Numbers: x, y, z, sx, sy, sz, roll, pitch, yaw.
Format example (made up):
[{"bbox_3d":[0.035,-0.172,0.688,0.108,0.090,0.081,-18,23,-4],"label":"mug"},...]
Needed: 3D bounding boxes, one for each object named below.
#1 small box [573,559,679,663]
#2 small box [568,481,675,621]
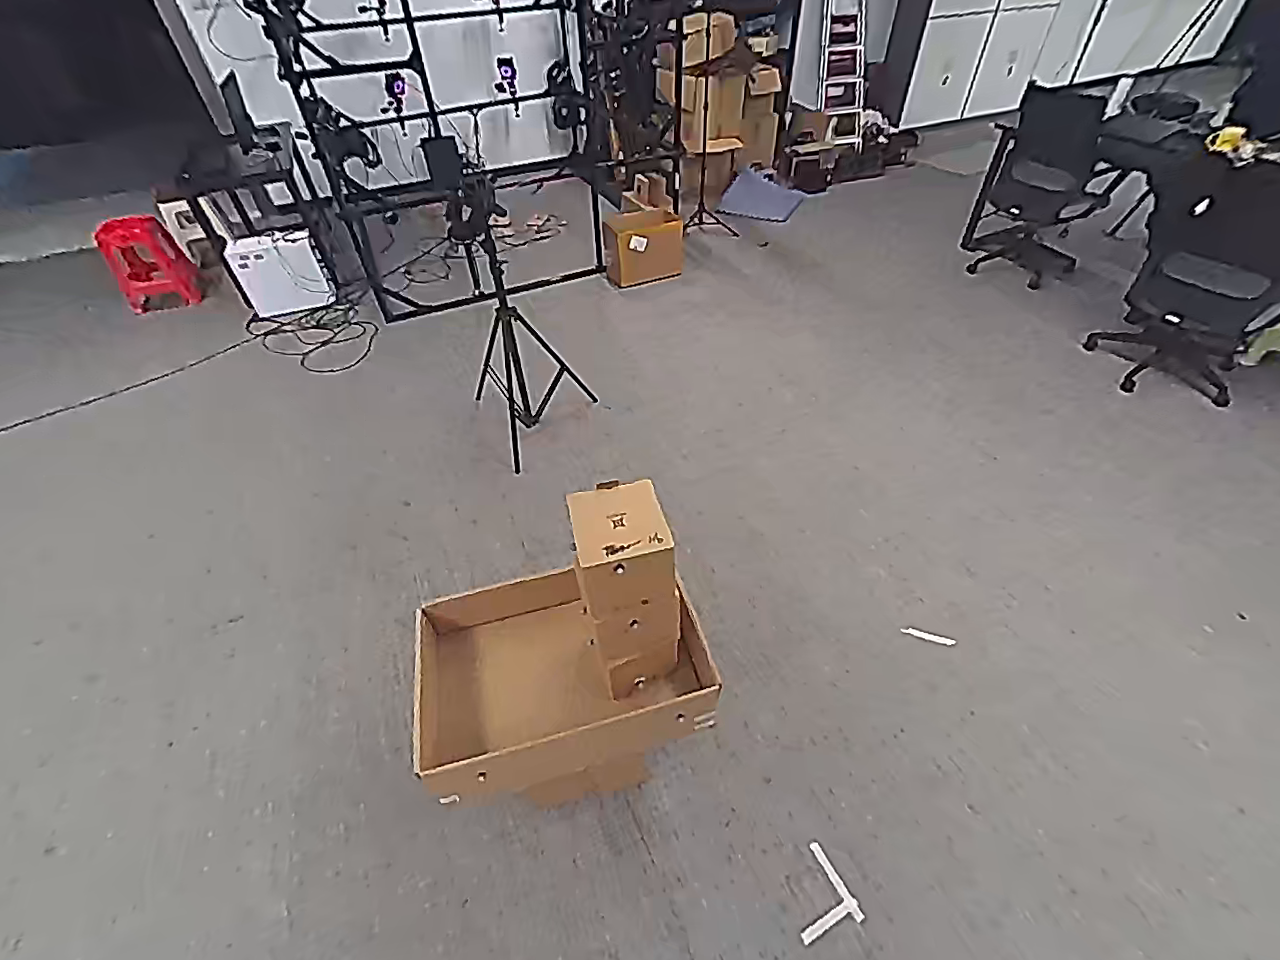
[{"bbox_3d":[-0.026,0.251,1.121,0.179,0.176,0.168,-16,46,-11],"label":"small box"},{"bbox_3d":[-0.035,0.132,1.008,0.168,0.176,0.179,-12,44,-7],"label":"small box"}]
